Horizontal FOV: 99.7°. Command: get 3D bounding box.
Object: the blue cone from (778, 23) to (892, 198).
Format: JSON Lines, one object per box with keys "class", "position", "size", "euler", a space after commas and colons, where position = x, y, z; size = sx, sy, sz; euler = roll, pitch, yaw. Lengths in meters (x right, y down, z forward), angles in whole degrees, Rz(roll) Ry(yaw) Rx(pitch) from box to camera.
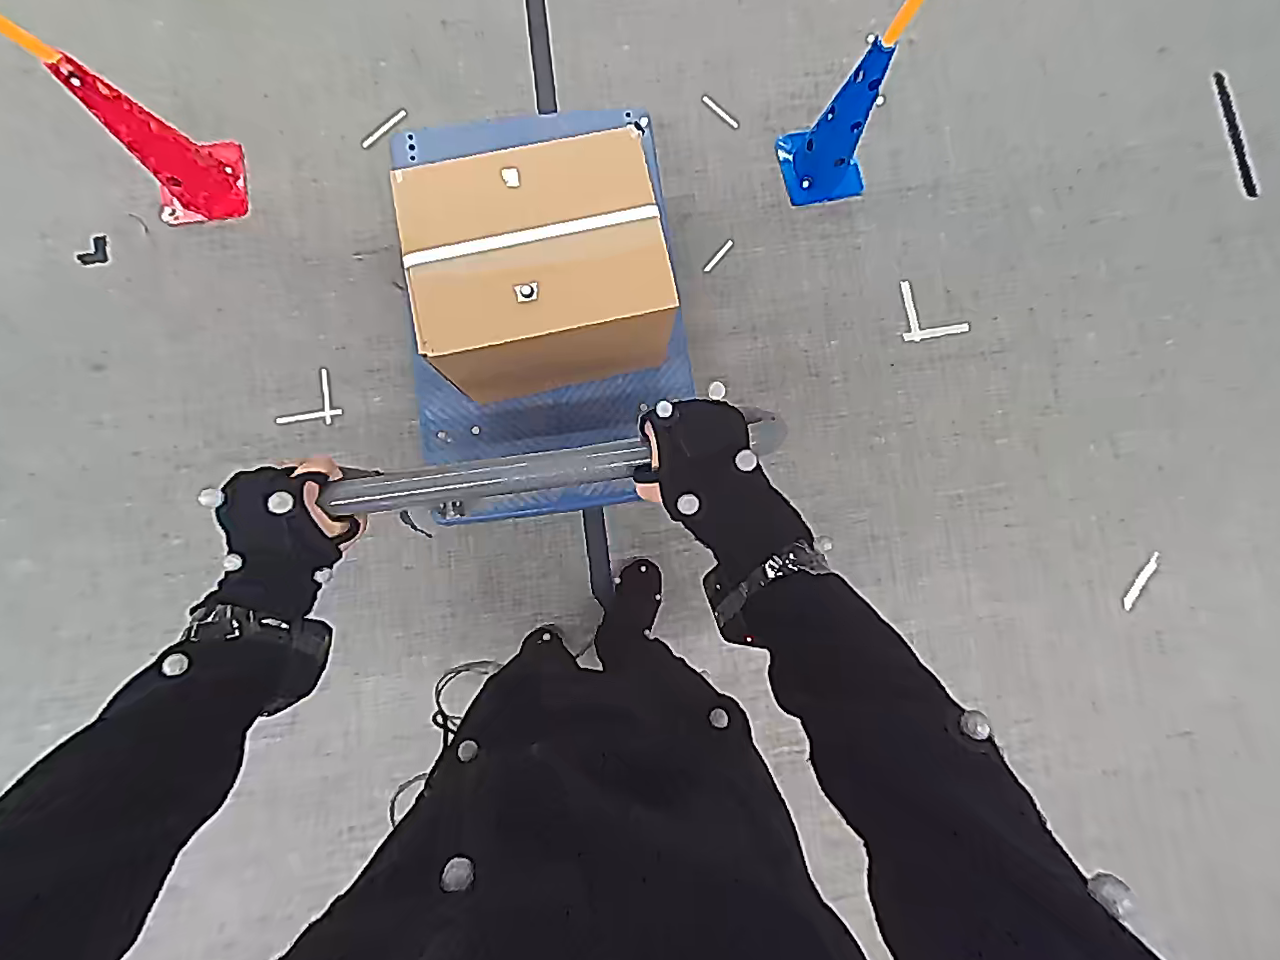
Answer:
{"class": "blue cone", "position": [0.471, -0.842, 1.233], "size": [0.193, 0.380, 0.192], "euler": [-12, 84, -4]}
